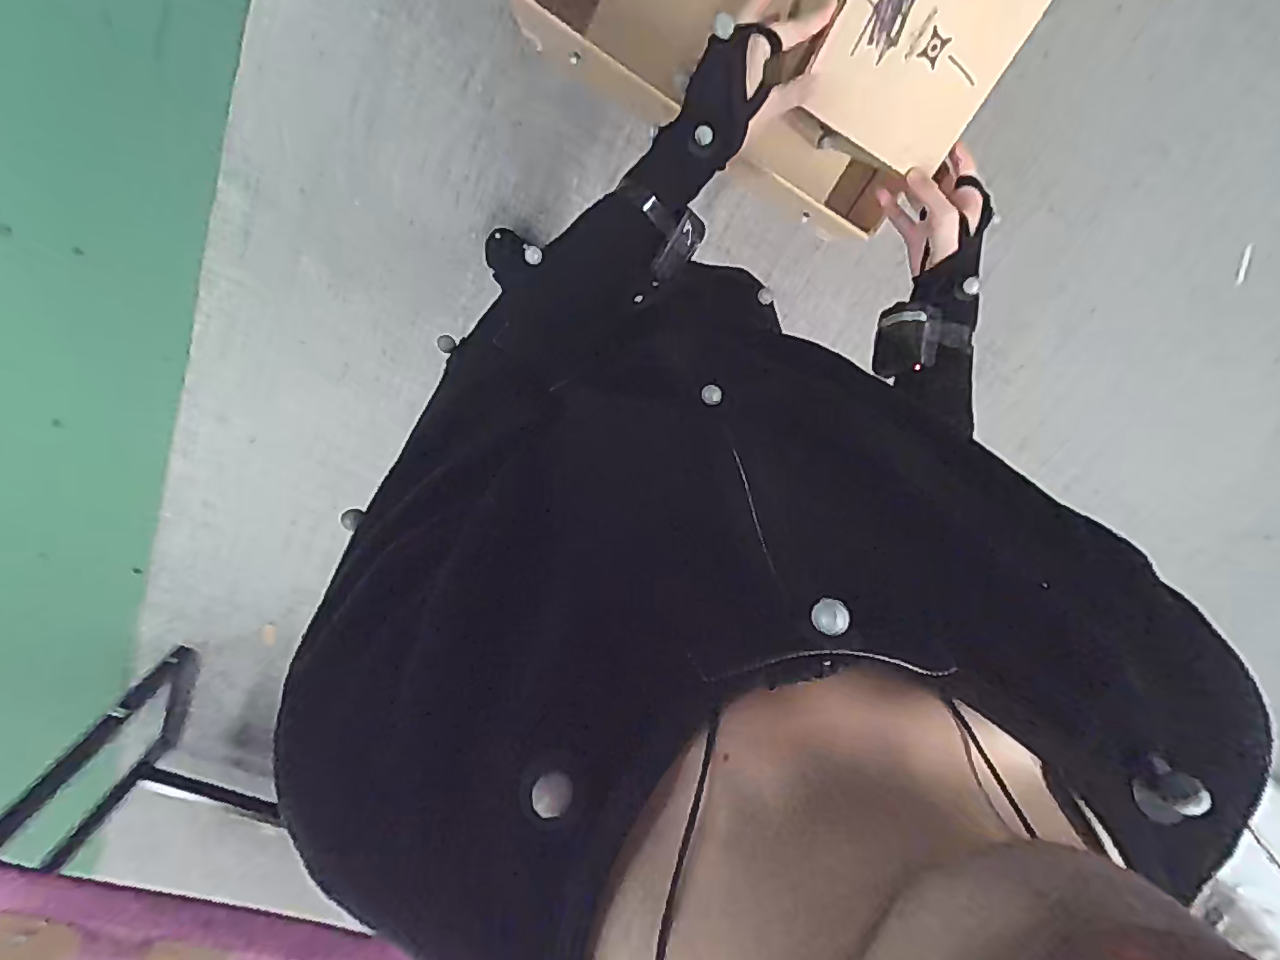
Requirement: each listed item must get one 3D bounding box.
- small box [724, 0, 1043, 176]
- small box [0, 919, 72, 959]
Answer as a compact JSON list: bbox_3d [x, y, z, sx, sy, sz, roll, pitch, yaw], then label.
[{"bbox_3d":[0.203,-0.407,0.481,0.179,0.176,0.168,10,127,-28],"label":"small box"},{"bbox_3d":[-1.403,1.092,1.163,0.179,0.176,0.168,26,113,-12],"label":"small box"}]
